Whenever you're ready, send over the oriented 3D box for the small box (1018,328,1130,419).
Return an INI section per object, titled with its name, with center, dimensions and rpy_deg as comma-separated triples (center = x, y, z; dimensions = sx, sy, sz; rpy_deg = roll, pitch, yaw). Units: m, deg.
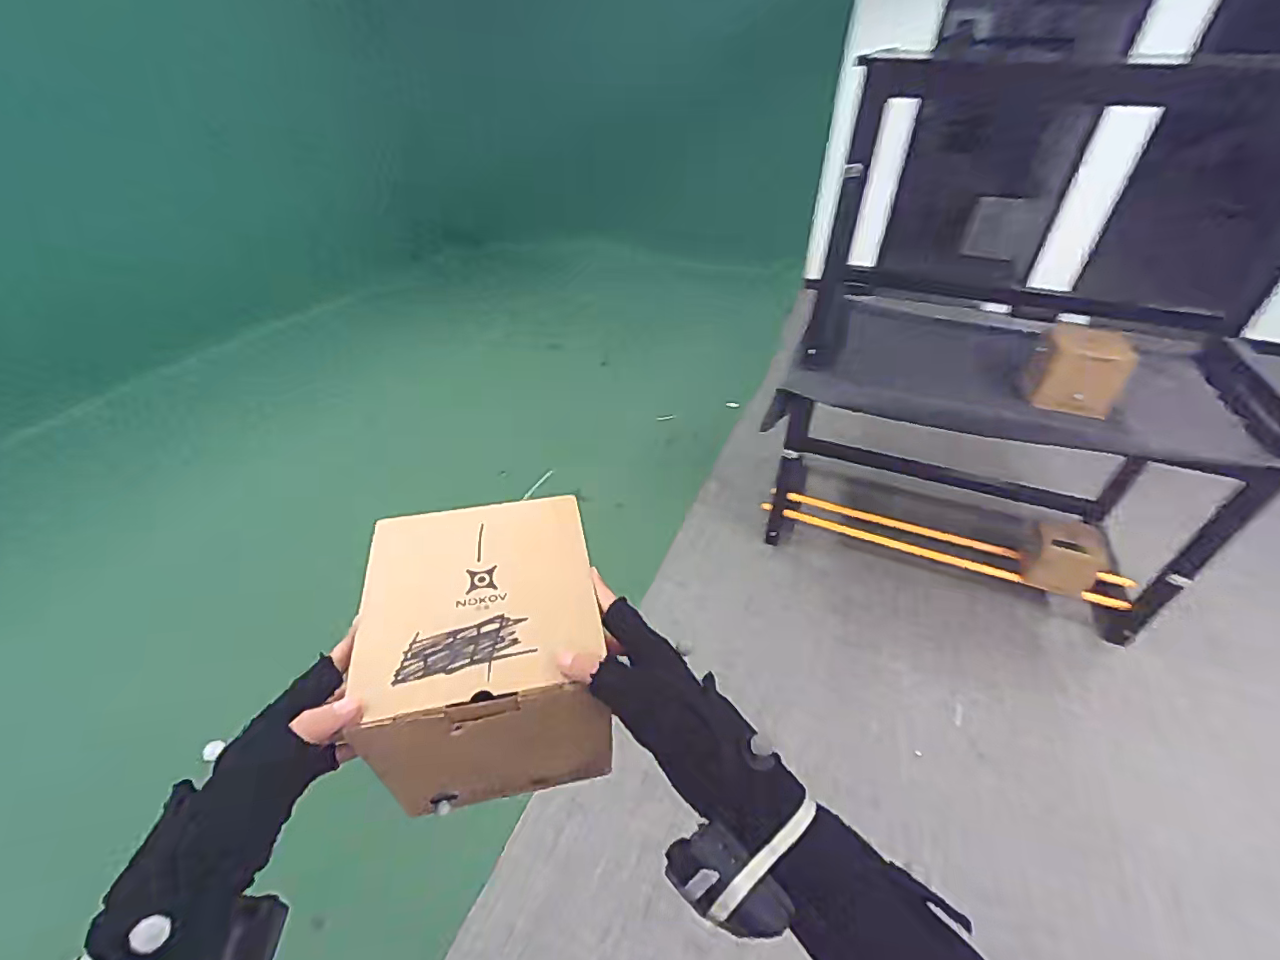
[small box]
center = 1.152, -0.288, 1.454
dimensions = 0.168, 0.176, 0.179
rpy_deg = 13, 40, 16
